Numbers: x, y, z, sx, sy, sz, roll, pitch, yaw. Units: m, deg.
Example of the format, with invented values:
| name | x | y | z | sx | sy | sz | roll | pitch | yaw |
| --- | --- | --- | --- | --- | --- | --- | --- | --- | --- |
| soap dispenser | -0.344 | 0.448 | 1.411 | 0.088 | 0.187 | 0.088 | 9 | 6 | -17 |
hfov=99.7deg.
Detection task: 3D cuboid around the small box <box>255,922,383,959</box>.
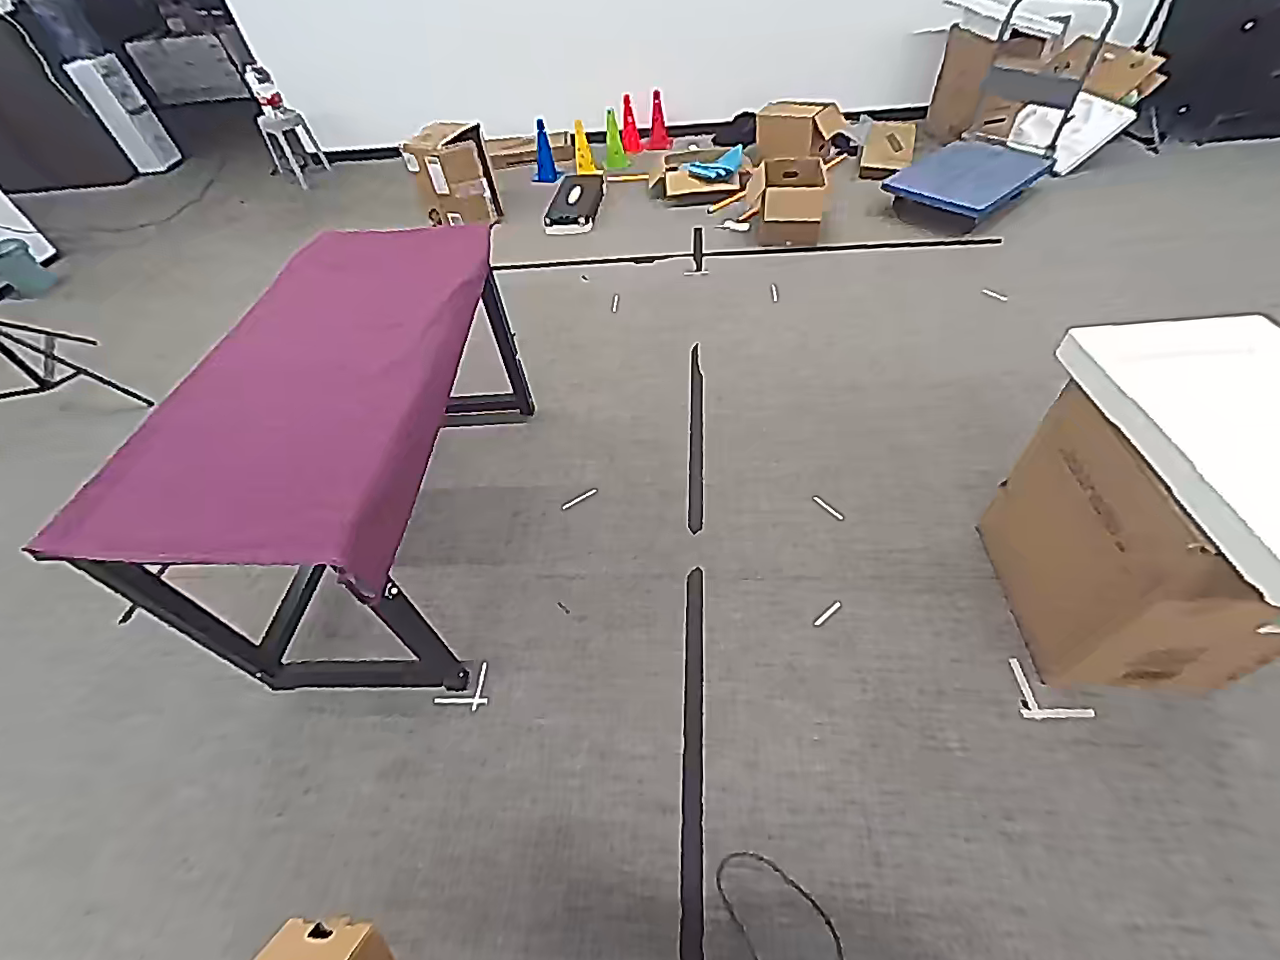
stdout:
| name | x | y | z | sx | sy | sz | roll | pitch | yaw |
| --- | --- | --- | --- | --- | --- | --- | --- | --- | --- |
| small box | -0.382 | 0.654 | 0.610 | 0.168 | 0.176 | 0.179 | -17 | 12 | 23 |
